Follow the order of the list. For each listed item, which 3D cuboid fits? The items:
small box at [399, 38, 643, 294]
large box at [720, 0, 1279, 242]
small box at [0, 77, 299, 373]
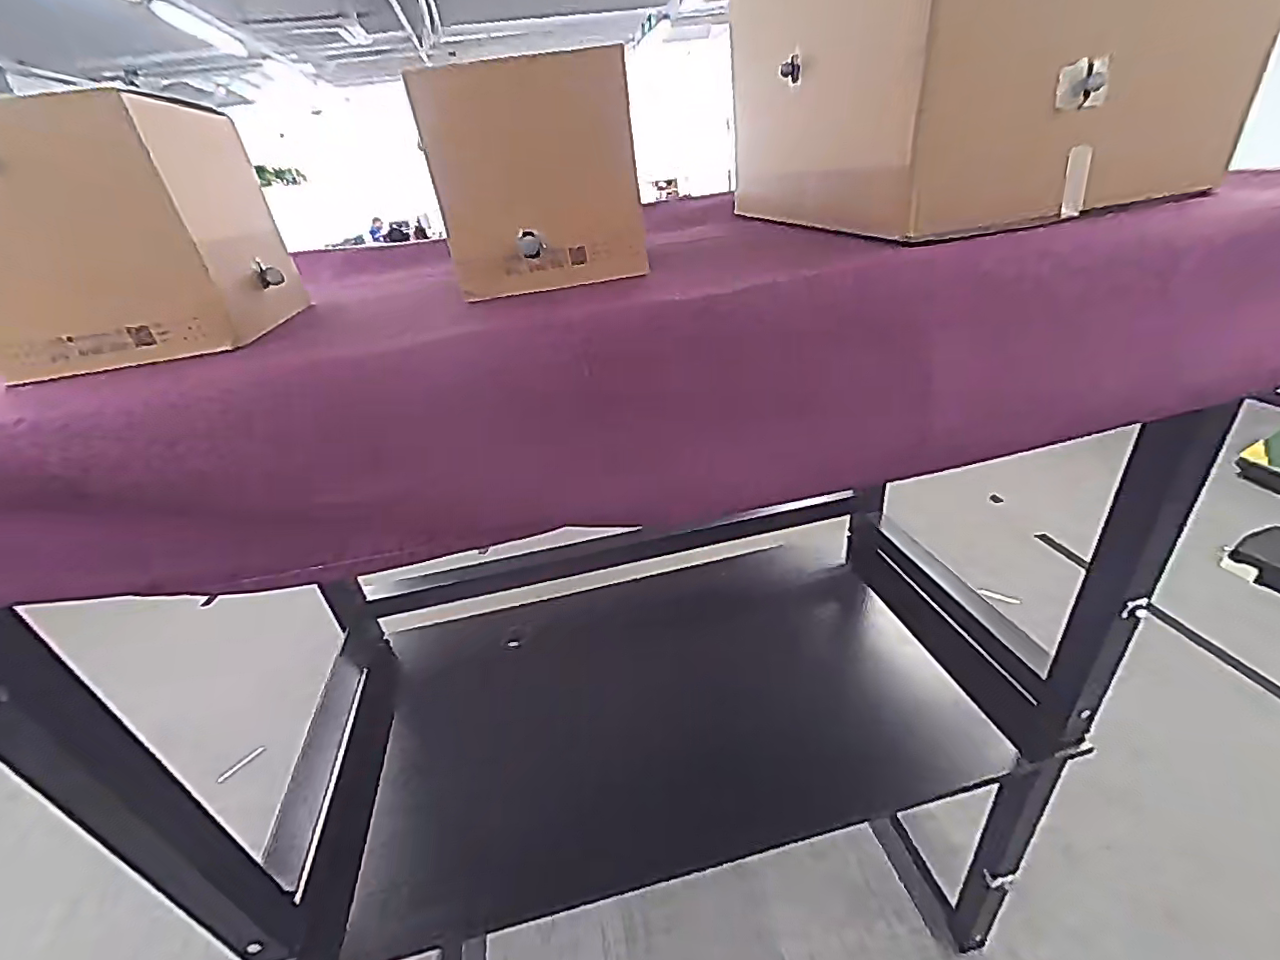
[{"bbox_3d":[-0.098,-0.280,0.503,0.168,0.176,0.179,-12,31,-6],"label":"small box"},{"bbox_3d":[0.297,-0.441,0.546,0.320,0.320,0.408,-12,29,-7],"label":"large box"},{"bbox_3d":[-0.407,-0.196,0.431,0.168,0.176,0.179,-13,30,-8],"label":"small box"}]
